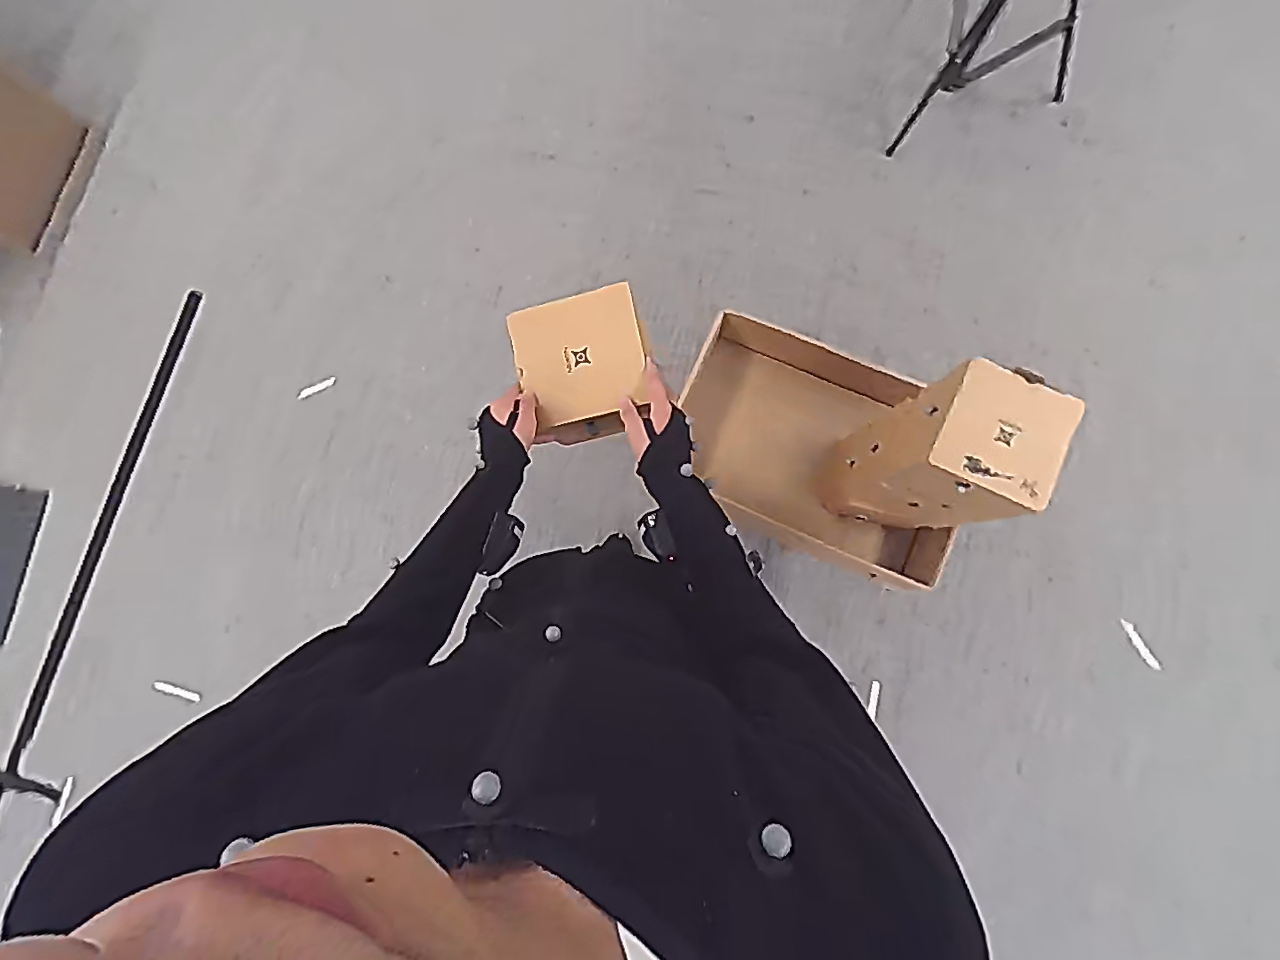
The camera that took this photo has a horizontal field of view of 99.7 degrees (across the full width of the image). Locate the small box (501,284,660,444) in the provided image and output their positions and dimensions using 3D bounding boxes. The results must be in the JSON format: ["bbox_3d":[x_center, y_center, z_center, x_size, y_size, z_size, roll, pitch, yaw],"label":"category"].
[{"bbox_3d":[-0.072,-0.154,0.778,0.179,0.176,0.168,-13,86,10],"label":"small box"}]

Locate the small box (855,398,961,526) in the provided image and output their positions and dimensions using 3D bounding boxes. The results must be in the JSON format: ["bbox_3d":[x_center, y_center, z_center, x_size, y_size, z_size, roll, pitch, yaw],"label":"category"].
[{"bbox_3d":[0.514,-0.022,0.973,0.179,0.176,0.168,21,83,6],"label":"small box"}]

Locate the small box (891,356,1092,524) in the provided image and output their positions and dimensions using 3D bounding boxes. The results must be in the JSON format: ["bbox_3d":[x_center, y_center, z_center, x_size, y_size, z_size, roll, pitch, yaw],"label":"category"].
[{"bbox_3d":[0.509,-0.050,0.811,0.168,0.176,0.179,27,83,8],"label":"small box"}]
